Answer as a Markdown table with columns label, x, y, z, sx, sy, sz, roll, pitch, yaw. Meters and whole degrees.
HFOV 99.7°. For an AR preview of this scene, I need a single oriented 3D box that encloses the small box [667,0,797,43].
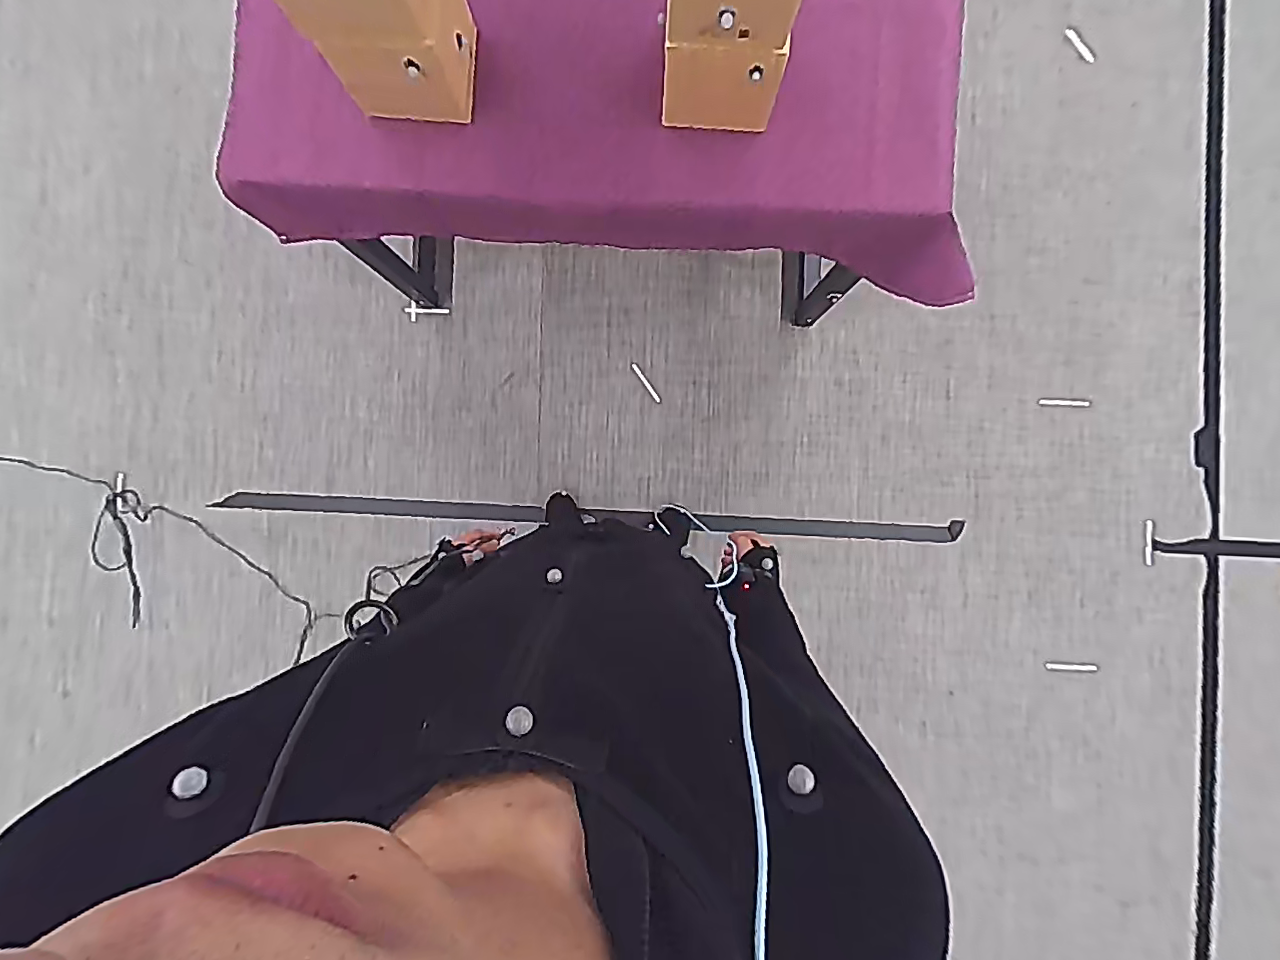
| label | x | y | z | sx | sy | sz | roll | pitch | yaw |
| --- | --- | --- | --- | --- | --- | --- | --- | --- | --- |
| small box | 0.122 | -0.689 | 0.659 | 0.168 | 0.176 | 0.179 | 4 | 90 | 0 |

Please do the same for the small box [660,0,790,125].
| label | x | y | z | sx | sy | sz | roll | pitch | yaw |
| --- | --- | --- | --- | --- | --- | --- | --- | --- | --- |
| small box | 0.122 | -0.676 | 0.823 | 0.179 | 0.176 | 0.168 | 3 | 90 | 0 |

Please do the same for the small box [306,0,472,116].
| label | x | y | z | sx | sy | sz | roll | pitch | yaw |
| --- | --- | --- | --- | --- | --- | --- | --- | --- | --- |
| small box | -0.366 | -0.690 | 0.819 | 0.179 | 0.176 | 0.168 | 4 | 90 | 0 |
